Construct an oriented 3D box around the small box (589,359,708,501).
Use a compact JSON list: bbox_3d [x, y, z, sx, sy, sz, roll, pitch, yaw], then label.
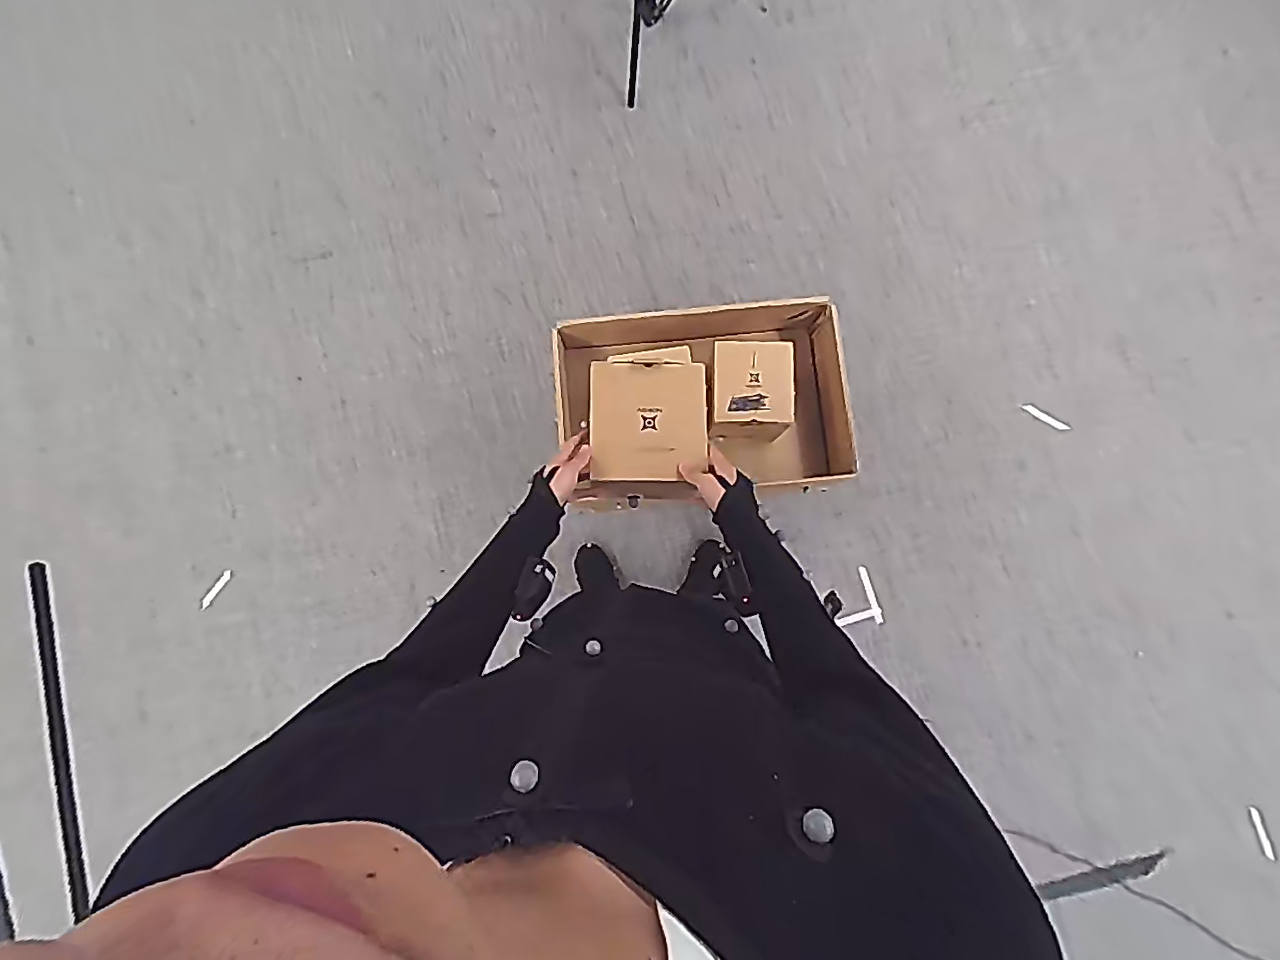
[{"bbox_3d":[0.007,-0.069,0.830,0.168,0.176,0.179,0,78,-3],"label":"small box"}]
